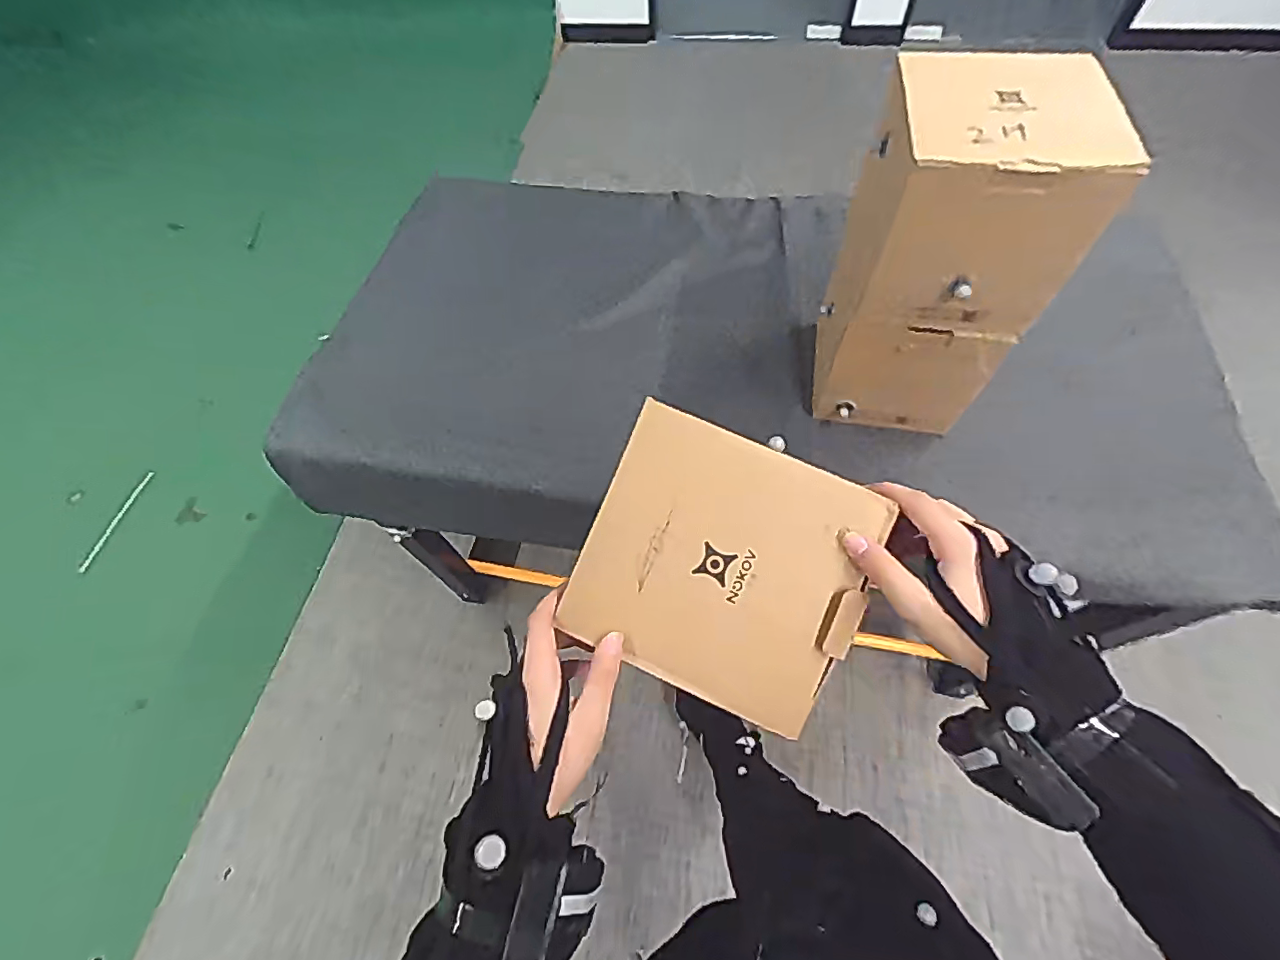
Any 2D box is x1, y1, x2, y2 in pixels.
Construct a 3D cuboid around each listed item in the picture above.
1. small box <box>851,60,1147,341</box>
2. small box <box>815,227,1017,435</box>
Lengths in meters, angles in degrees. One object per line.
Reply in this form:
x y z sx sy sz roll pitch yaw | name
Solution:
0.306 -0.260 0.512 0.168 0.176 0.179 6 61 8 | small box
0.314 -0.175 0.653 0.168 0.176 0.179 9 60 9 | small box
